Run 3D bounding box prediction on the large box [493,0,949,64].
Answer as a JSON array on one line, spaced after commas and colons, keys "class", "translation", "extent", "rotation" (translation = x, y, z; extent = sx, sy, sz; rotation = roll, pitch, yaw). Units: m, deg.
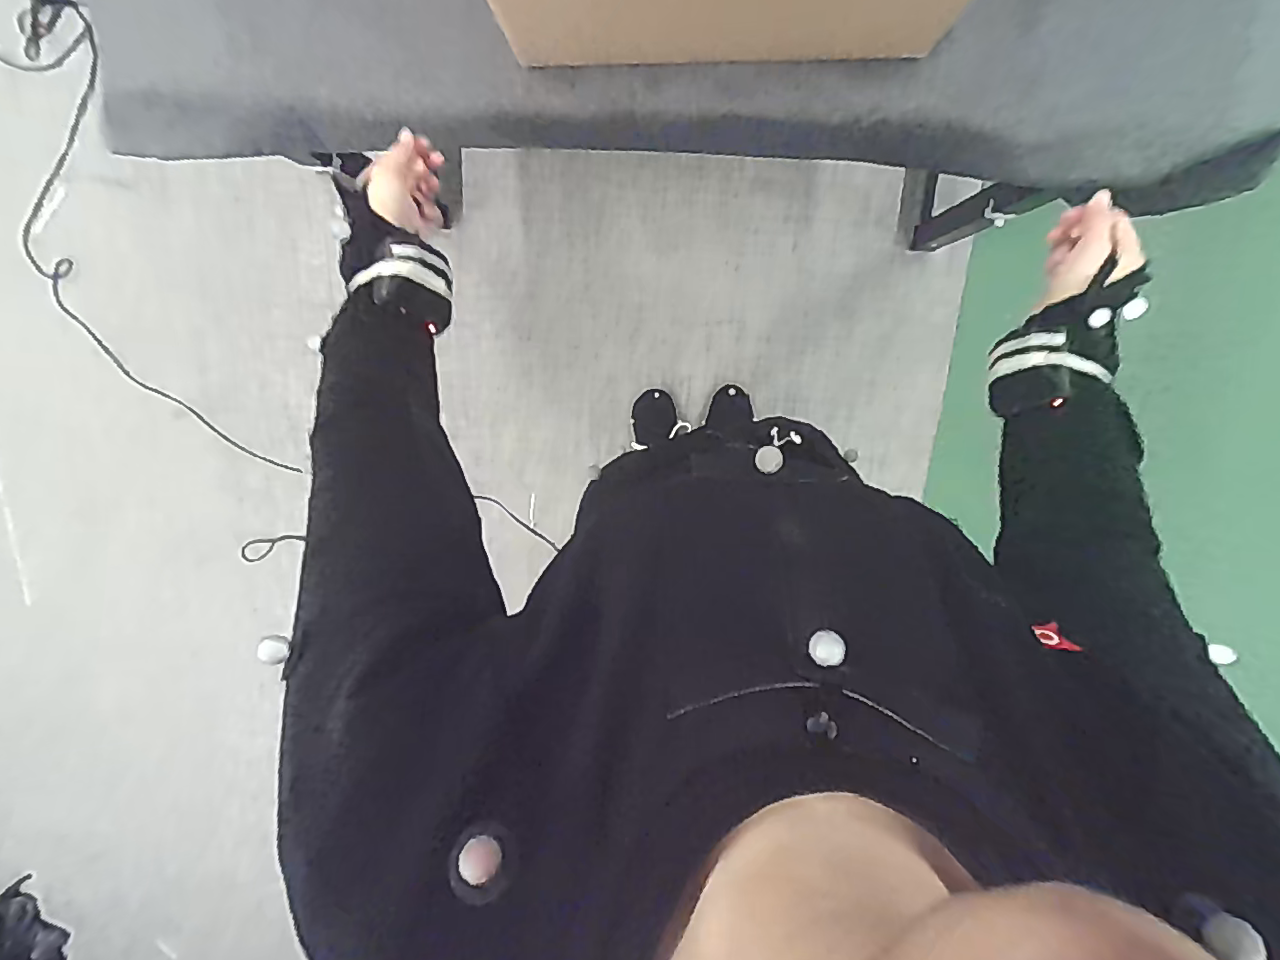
[{"class": "large box", "translation": [0.065, -0.542, 0.365], "extent": [0.408, 0.320, 0.320], "rotation": [0, 102, 3]}]
